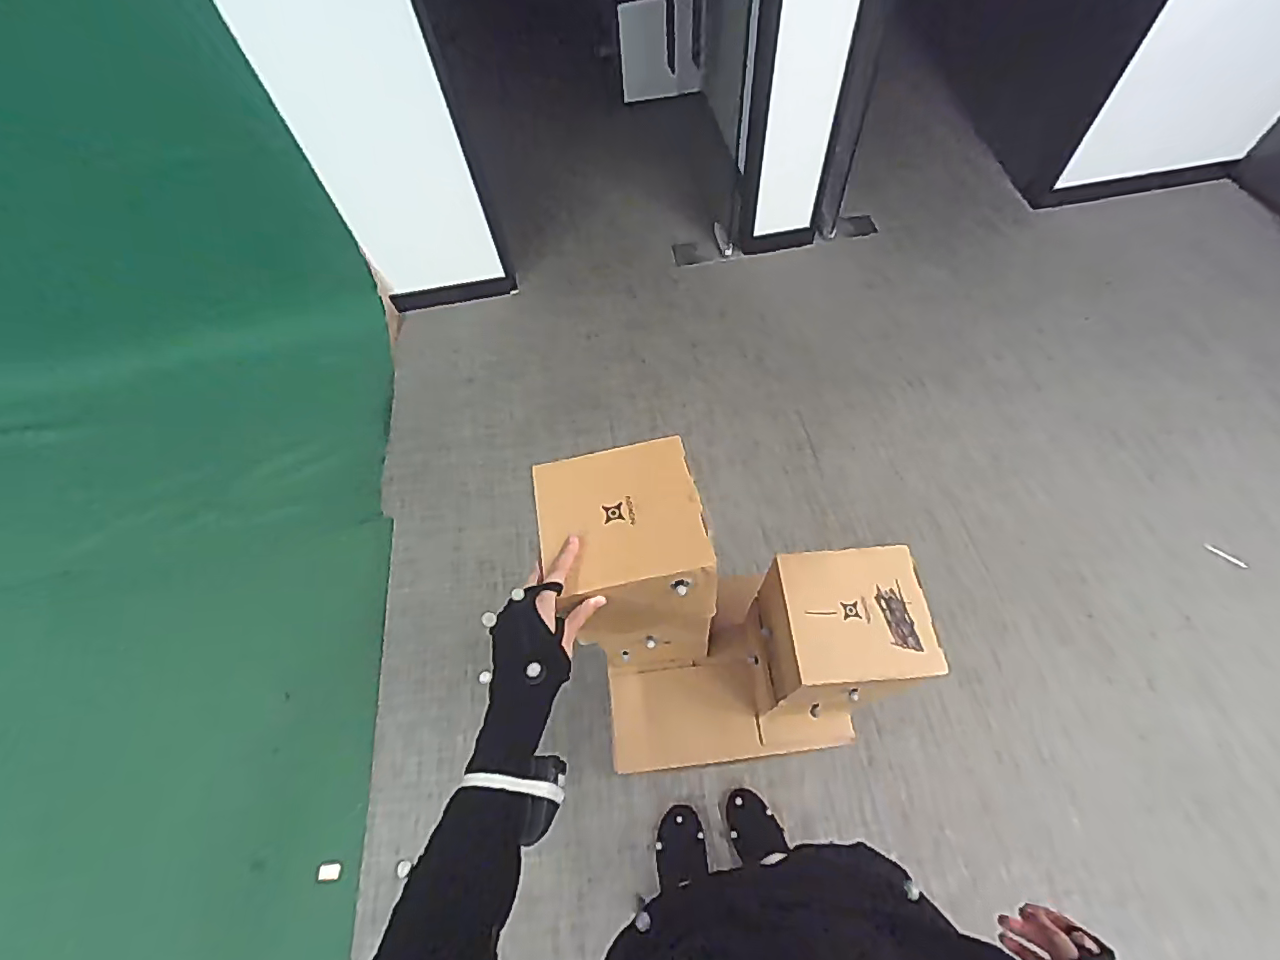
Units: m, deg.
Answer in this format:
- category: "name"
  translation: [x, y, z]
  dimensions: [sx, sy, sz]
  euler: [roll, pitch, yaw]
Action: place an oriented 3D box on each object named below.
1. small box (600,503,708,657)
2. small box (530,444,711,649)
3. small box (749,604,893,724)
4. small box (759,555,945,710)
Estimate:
- category: "small box"
  translation: [0.010, 0.152, 0.799]
  dimensions: [0.168, 0.176, 0.179]
  euler: [-4, 60, 4]
- category: "small box"
  translation: [-0.018, 0.086, 0.645]
  dimensions: [0.179, 0.176, 0.168]
  euler: [-13, 57, -1]
- category: "small box"
  translation: [0.277, 0.296, 0.879]
  dimensions: [0.179, 0.176, 0.168]
  euler: [-6, 62, 2]
- category: "small box"
  translation: [0.271, 0.213, 0.738]
  dimensions: [0.179, 0.176, 0.168]
  euler: [-5, 60, 2]
